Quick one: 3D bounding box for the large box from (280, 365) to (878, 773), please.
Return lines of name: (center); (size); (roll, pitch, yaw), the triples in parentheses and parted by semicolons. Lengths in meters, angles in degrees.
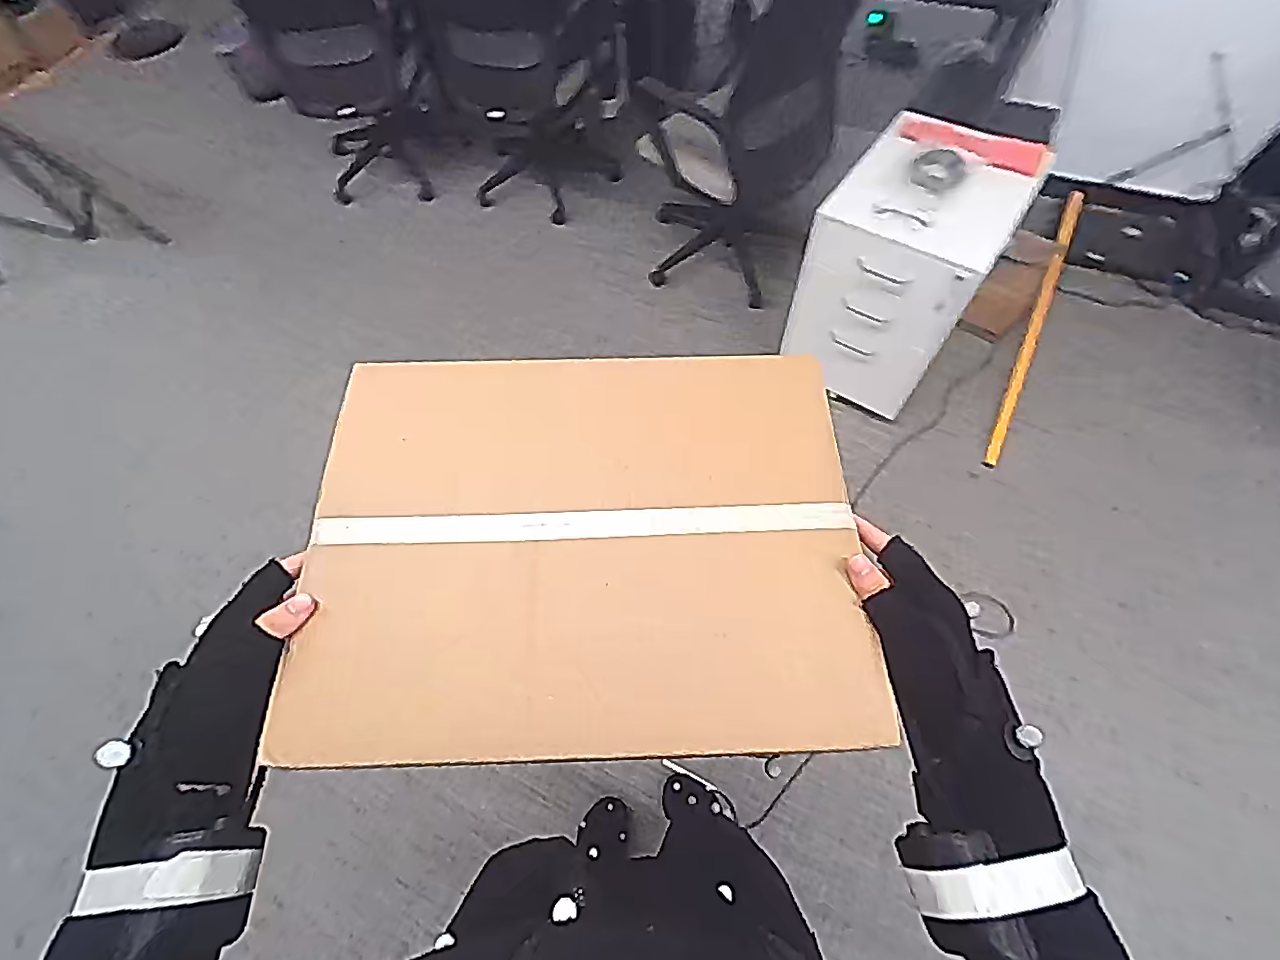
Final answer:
large box: (-0.045, 0.104, 0.553); (0.408, 0.320, 0.320); (-2, 64, -2)
